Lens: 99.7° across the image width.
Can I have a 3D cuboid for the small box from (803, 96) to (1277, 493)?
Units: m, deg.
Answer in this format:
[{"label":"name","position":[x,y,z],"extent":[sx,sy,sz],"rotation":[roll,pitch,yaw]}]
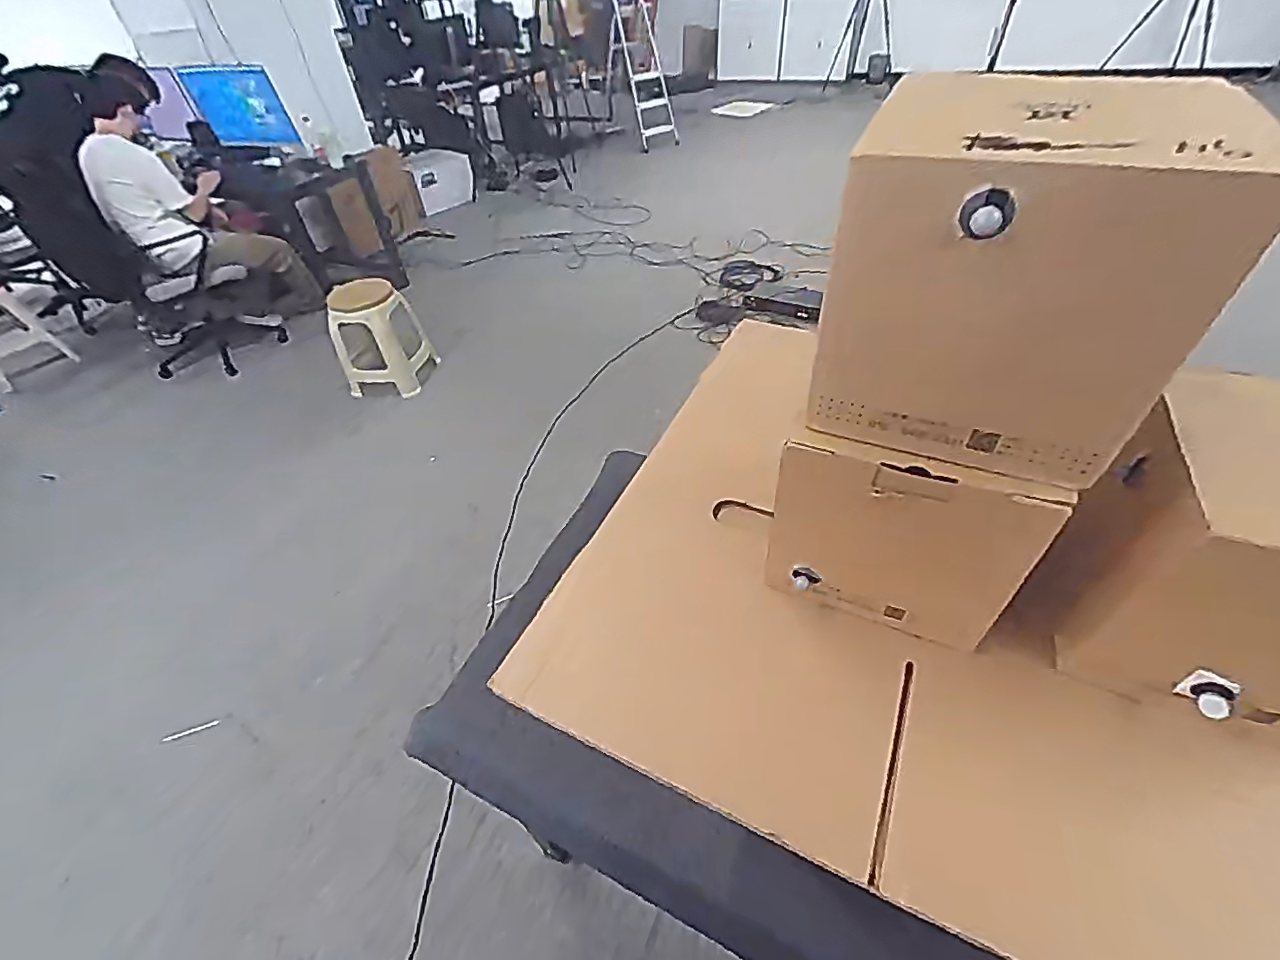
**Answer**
[{"label":"small box","position":[0.211,-0.123,0.340],"extent":[0.168,0.176,0.179],"rotation":[17,48,22]}]
